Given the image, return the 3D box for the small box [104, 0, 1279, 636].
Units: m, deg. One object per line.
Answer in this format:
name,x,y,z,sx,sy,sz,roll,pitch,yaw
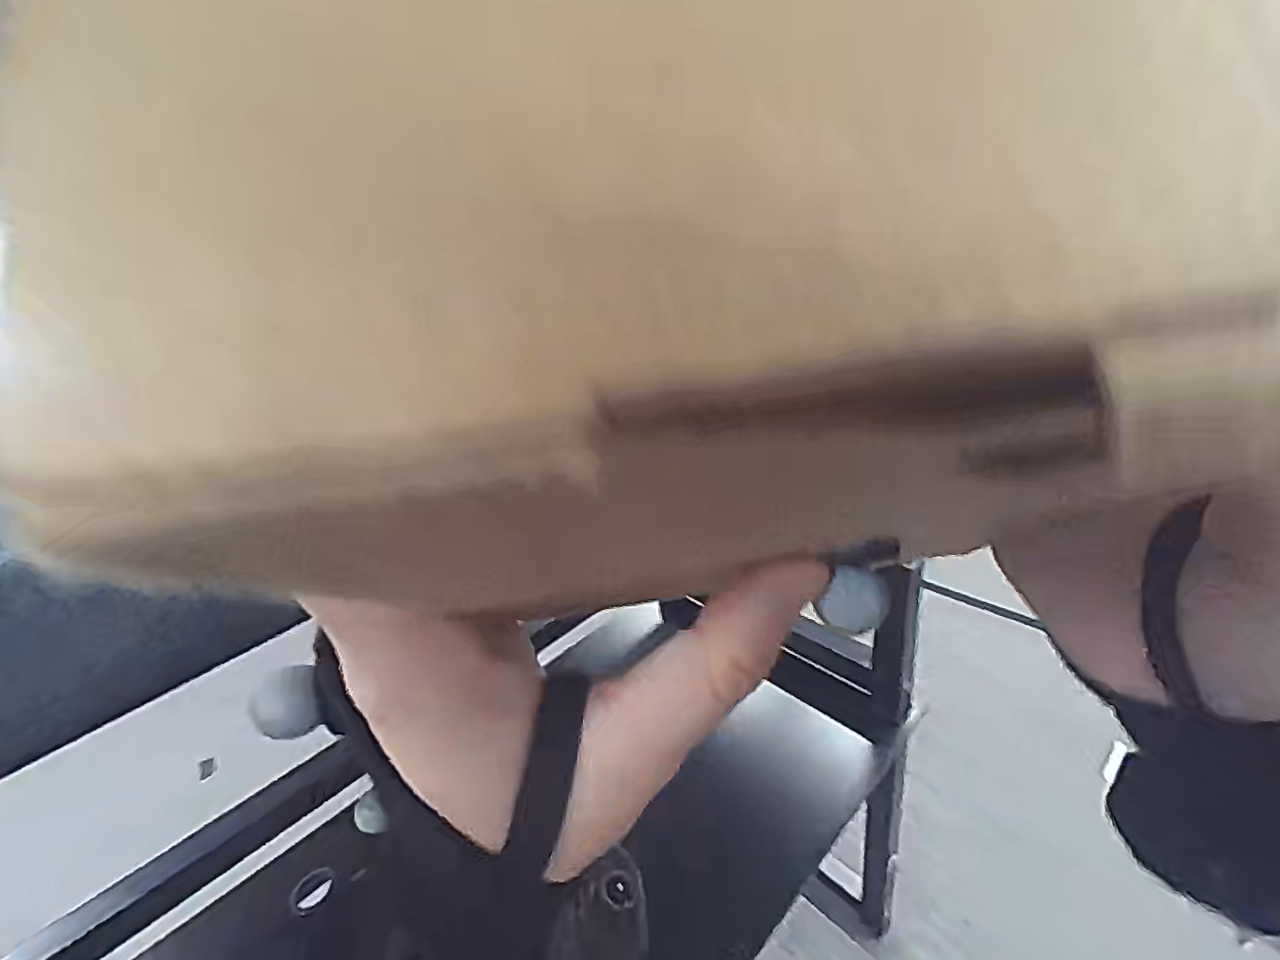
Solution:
small box,0.034,-0.064,0.136,0.168,0.179,0.176,-7,-15,-5
